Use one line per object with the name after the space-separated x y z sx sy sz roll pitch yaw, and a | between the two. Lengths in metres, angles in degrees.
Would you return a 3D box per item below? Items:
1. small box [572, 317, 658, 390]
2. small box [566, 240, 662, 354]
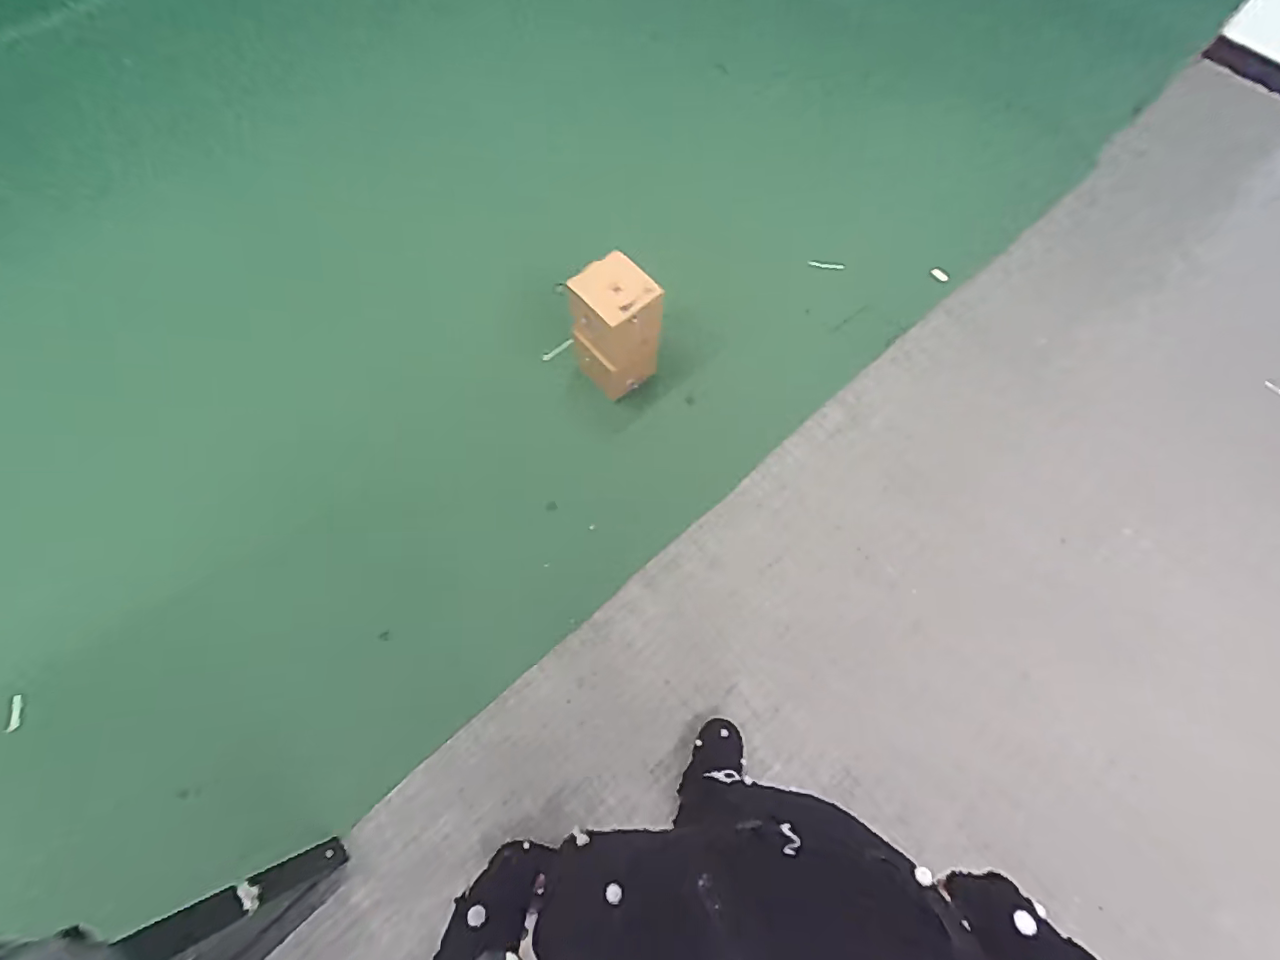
-0.072 -0.388 1.517 0.168 0.176 0.179 -39 76 -14 | small box
-0.064 -0.456 1.368 0.168 0.176 0.179 -39 74 -14 | small box
